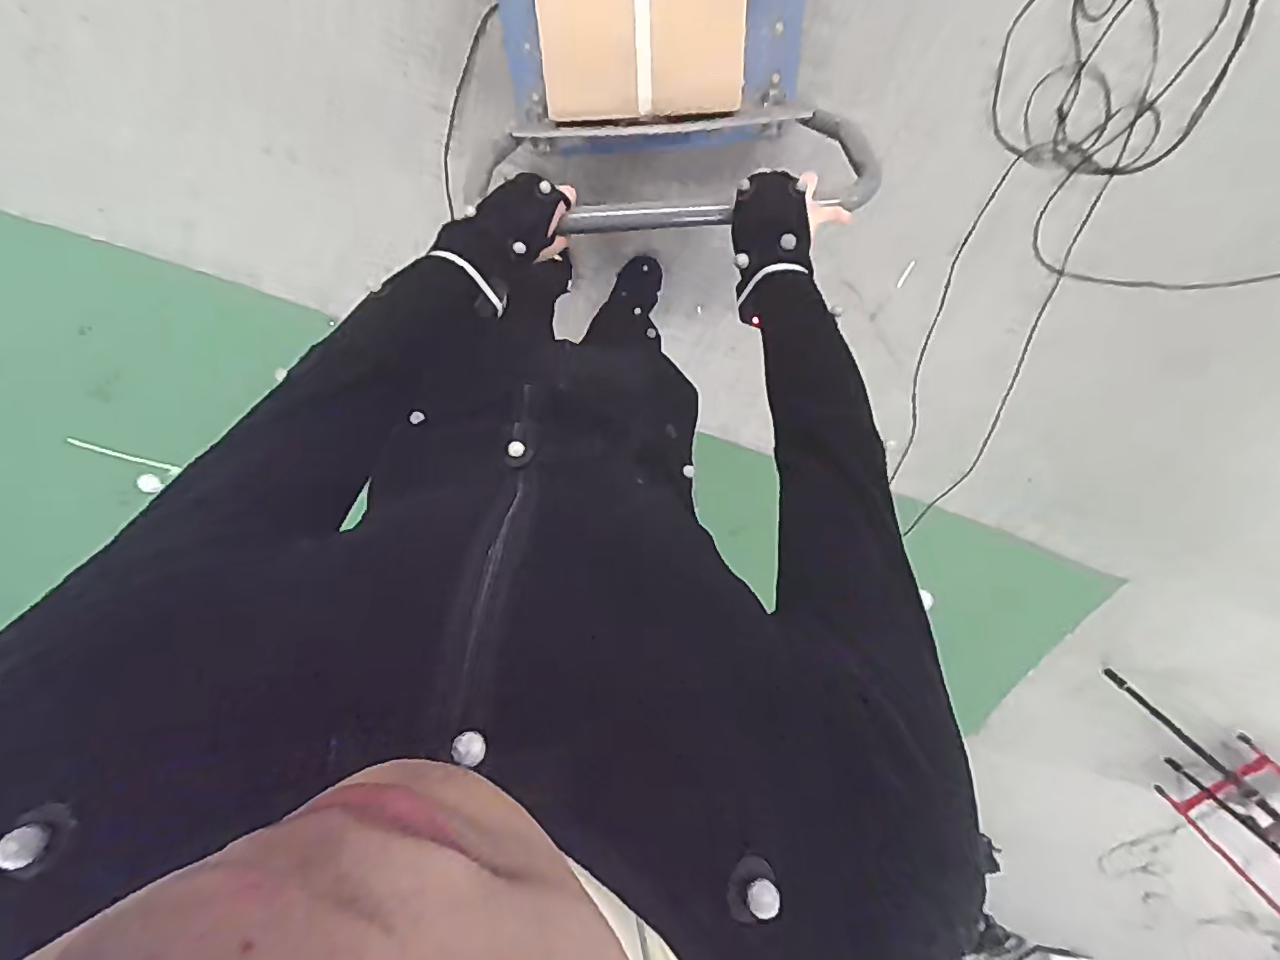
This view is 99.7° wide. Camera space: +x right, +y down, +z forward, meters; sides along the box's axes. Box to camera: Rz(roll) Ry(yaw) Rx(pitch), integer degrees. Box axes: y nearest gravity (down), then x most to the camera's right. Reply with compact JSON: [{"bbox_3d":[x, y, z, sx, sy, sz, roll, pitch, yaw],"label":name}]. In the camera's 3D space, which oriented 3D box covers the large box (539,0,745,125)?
[{"bbox_3d":[0.003,-0.846,0.905,0.320,0.320,0.408,-2,123,2],"label":"large box"}]
